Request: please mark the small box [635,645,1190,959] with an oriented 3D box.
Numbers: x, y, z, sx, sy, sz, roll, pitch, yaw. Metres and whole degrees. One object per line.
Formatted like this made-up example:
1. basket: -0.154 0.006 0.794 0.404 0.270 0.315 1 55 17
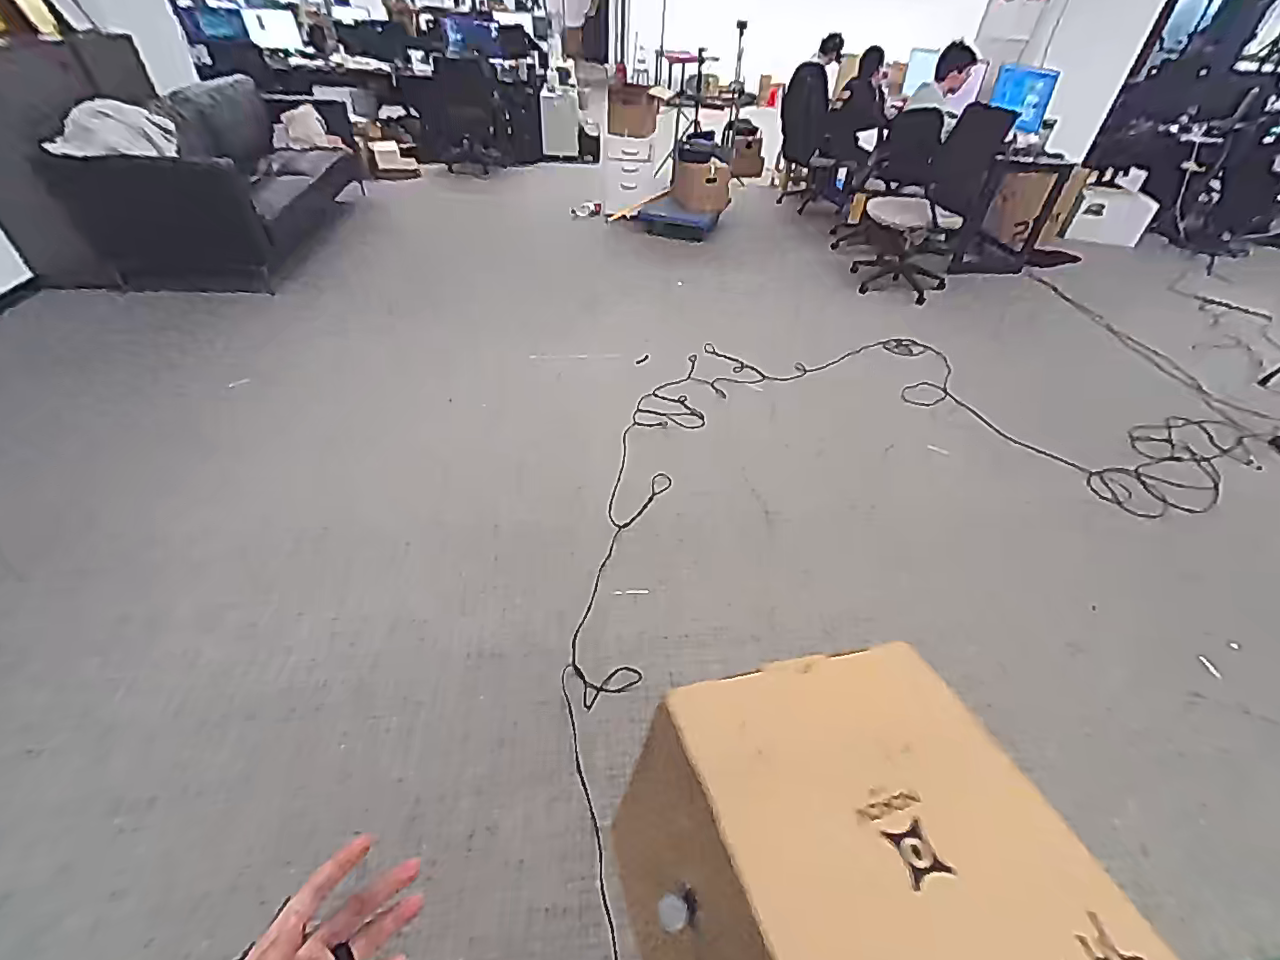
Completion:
1. small box: 0.108 0.221 0.289 0.168 0.176 0.179 -3 38 -22
